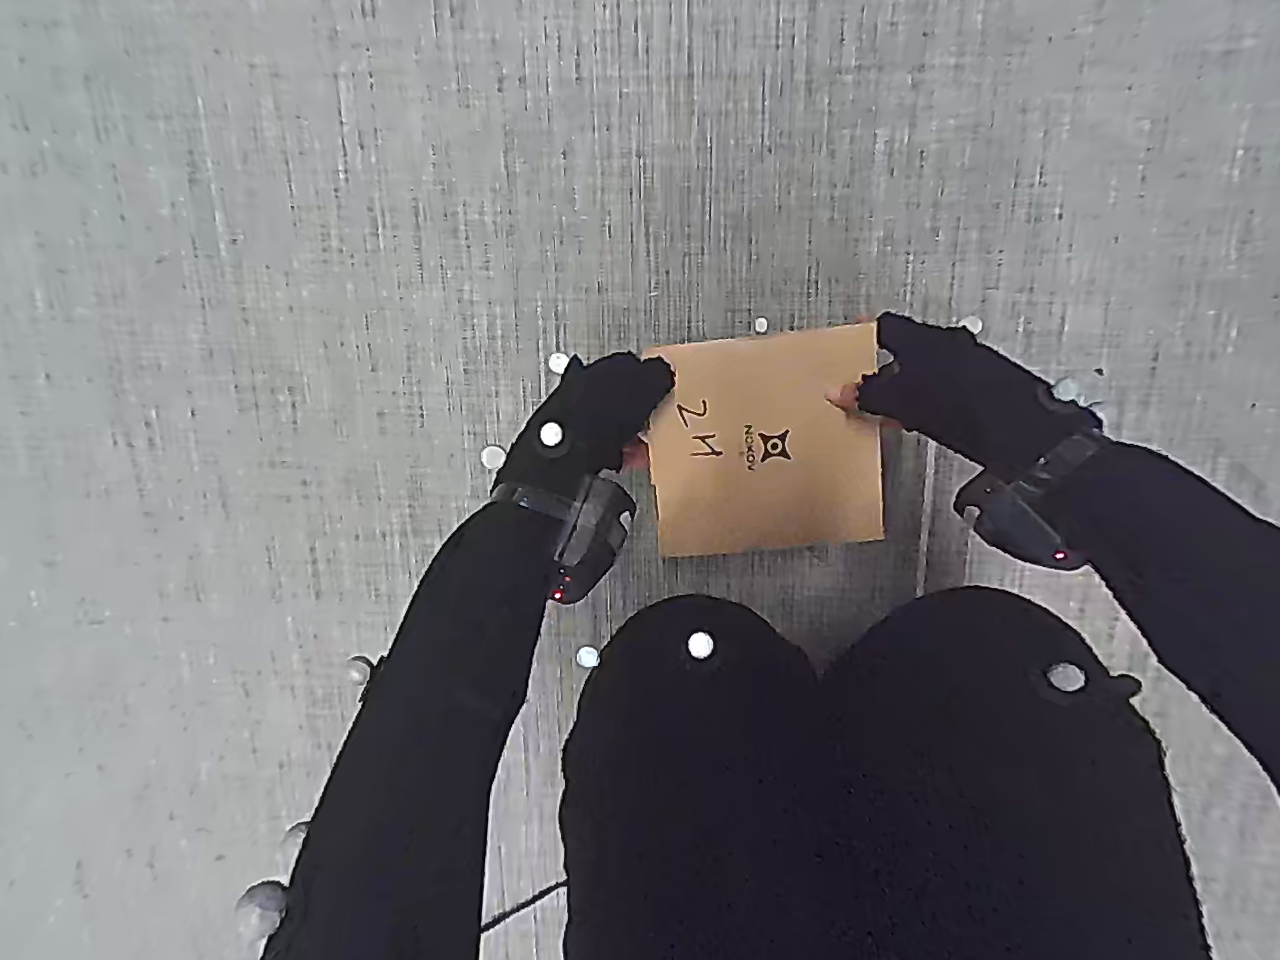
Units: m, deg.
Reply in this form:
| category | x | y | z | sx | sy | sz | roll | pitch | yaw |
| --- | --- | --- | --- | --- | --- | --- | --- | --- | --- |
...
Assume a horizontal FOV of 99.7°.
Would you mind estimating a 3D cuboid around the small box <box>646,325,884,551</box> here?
| category | x | y | z | sx | sy | sz | roll | pitch | yaw |
| --- | --- | --- | --- | --- | --- | --- | --- | --- | --- |
| small box | 0.101 | -0.043 | 0.489 | 0.179 | 0.176 | 0.168 | -5 | 99 | 5 |
